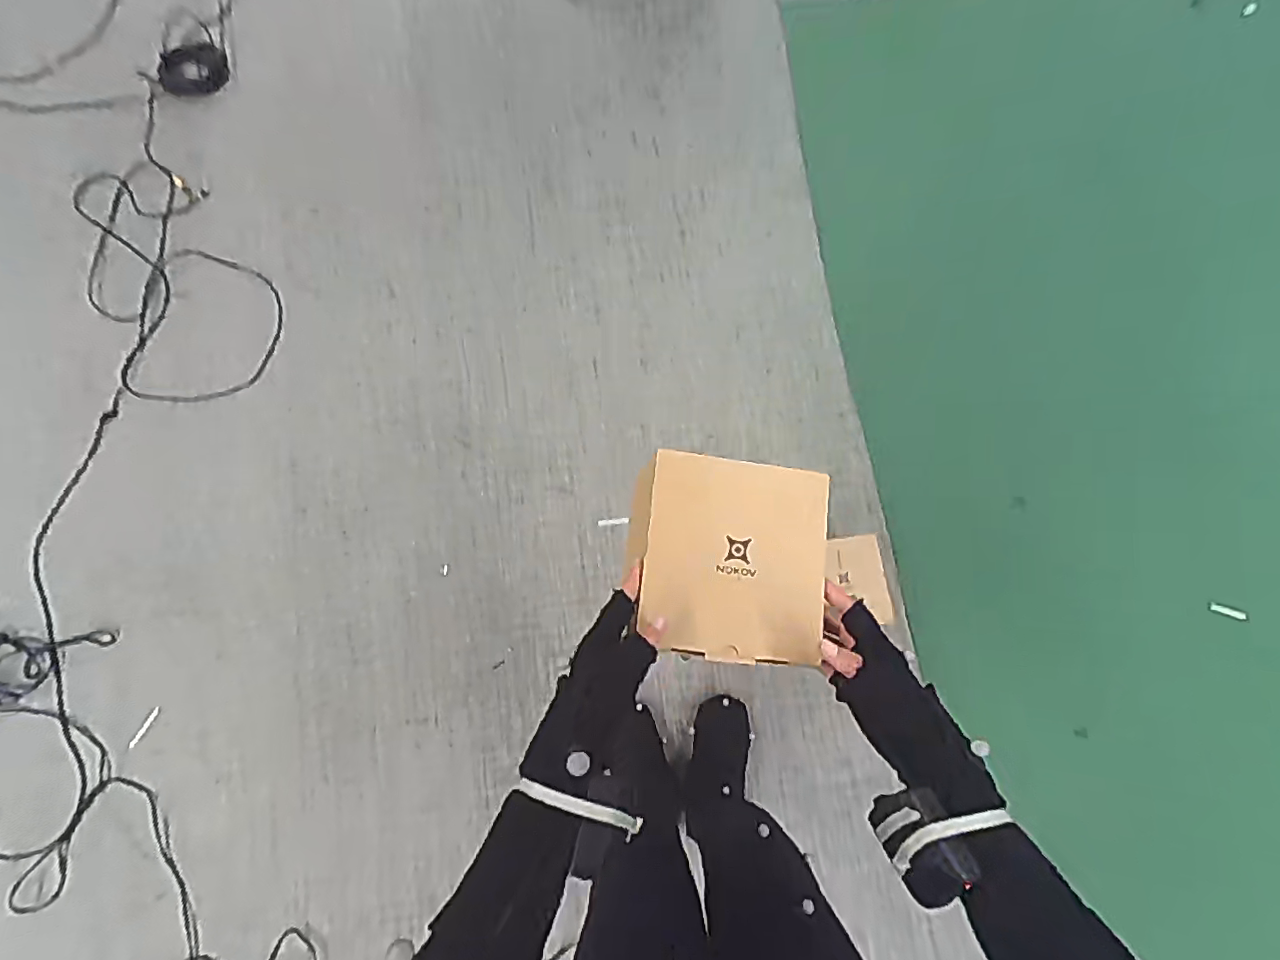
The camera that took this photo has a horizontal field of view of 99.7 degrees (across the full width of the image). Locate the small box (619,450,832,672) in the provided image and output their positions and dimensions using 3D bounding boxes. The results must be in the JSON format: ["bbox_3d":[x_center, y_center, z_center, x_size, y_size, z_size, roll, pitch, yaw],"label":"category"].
[{"bbox_3d":[0.075,0.085,0.545,0.168,0.176,0.179,8,77,-6],"label":"small box"}]

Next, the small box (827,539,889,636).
[{"bbox_3d":[0.389,0.225,1.130,0.168,0.176,0.179,-7,78,-2],"label":"small box"}]
